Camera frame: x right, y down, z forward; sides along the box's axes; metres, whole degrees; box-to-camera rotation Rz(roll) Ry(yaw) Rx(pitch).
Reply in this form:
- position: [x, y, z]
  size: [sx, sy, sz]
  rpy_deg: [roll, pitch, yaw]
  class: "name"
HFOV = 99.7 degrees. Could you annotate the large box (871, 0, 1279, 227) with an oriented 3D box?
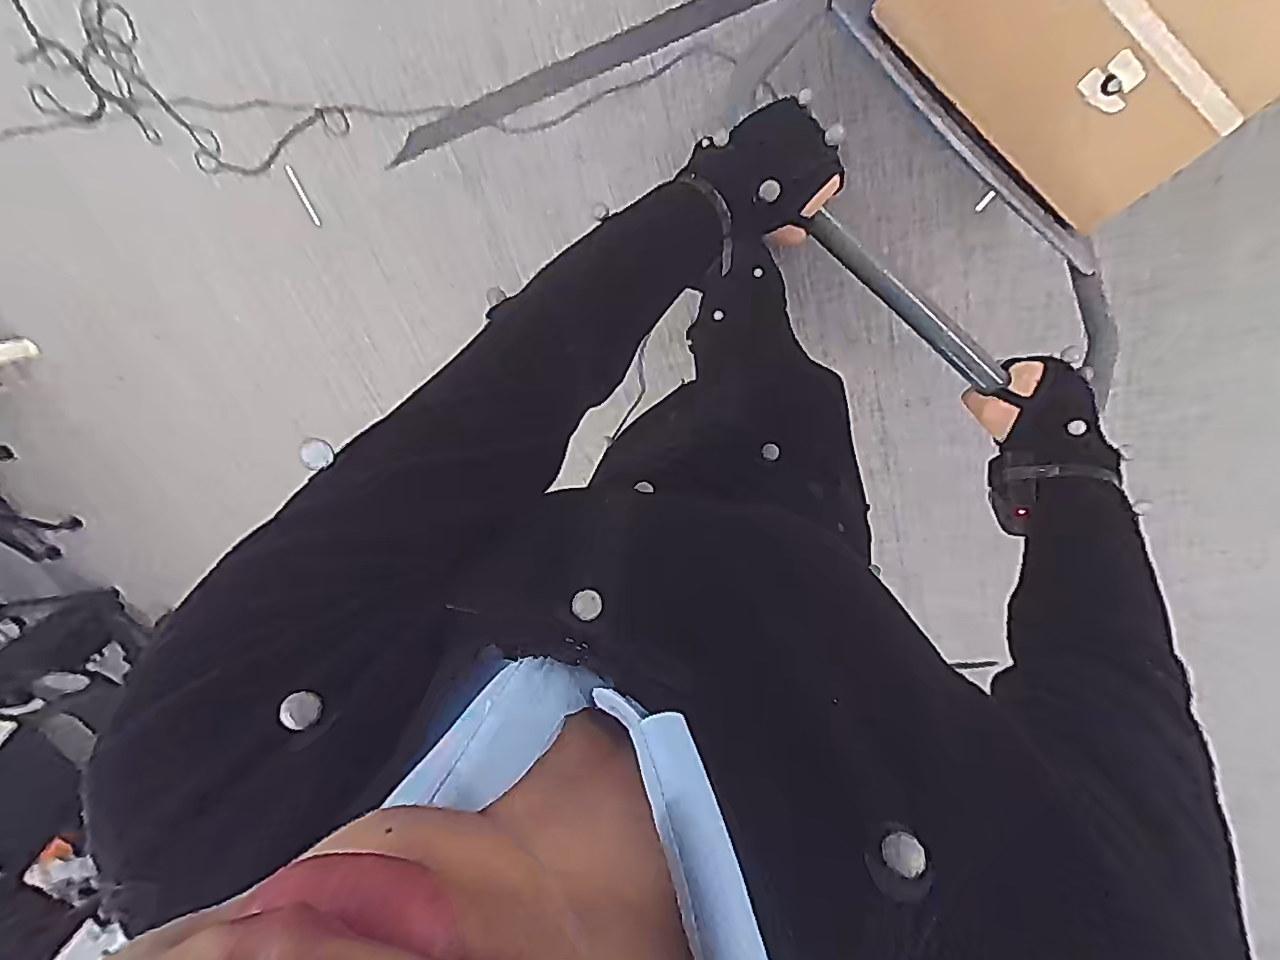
- position: [0.564, -0.625, 0.692]
  size: [0.408, 0.320, 0.320]
  rpy_deg: [37, 138, -10]
  class: "large box"
